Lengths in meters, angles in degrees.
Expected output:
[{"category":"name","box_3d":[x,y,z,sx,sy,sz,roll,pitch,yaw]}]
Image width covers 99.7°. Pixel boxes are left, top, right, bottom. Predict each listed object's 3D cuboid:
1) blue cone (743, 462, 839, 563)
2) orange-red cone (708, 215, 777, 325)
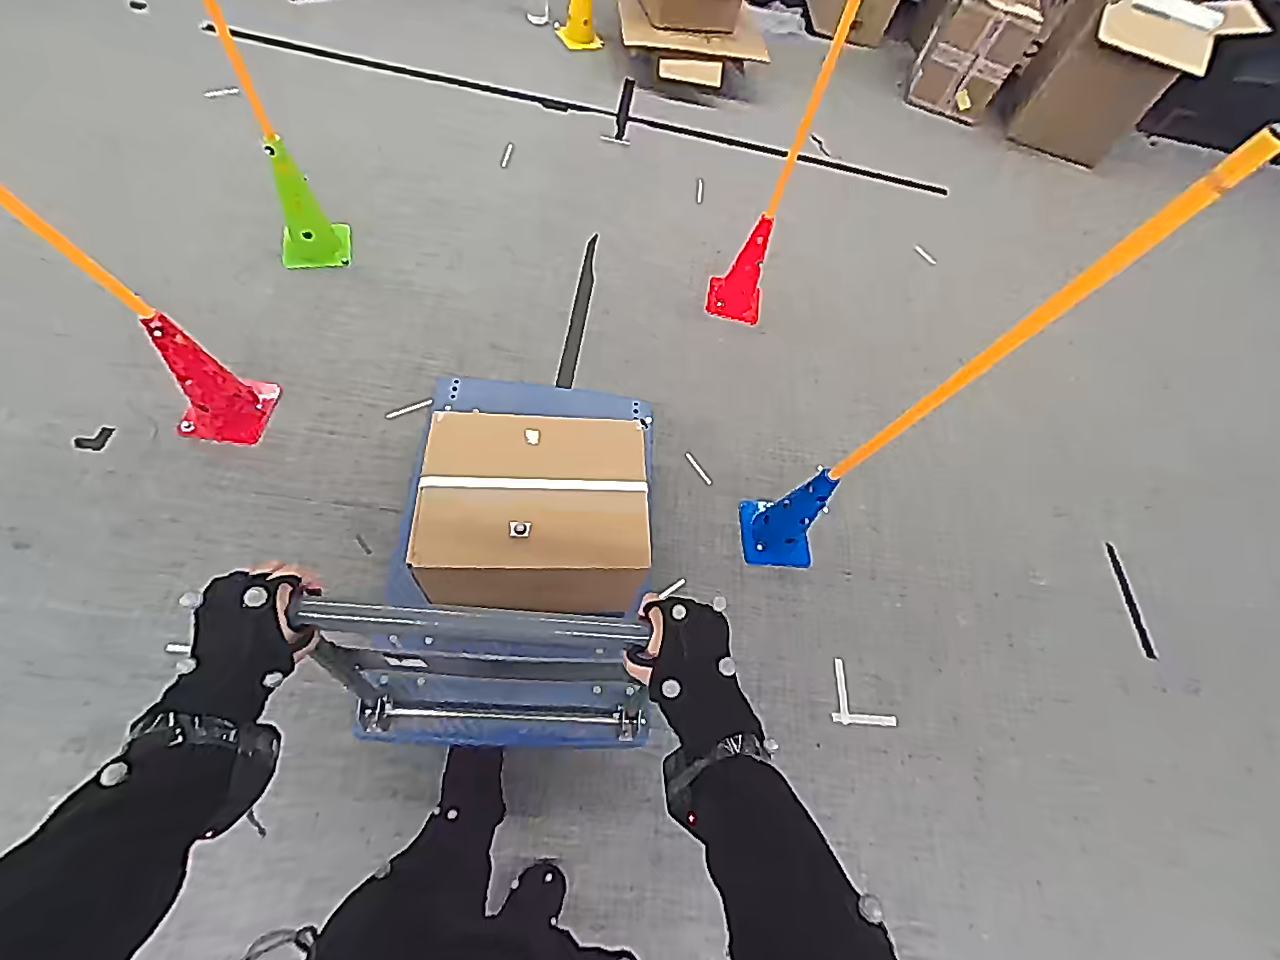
[{"category":"blue cone","box_3d":[0.427,0.071,1.438,0.193,0.380,0.192,6,60,-8]},{"category":"orange-red cone","box_3d":[0.385,-0.741,1.849,0.199,0.360,0.198,15,61,-3]}]
